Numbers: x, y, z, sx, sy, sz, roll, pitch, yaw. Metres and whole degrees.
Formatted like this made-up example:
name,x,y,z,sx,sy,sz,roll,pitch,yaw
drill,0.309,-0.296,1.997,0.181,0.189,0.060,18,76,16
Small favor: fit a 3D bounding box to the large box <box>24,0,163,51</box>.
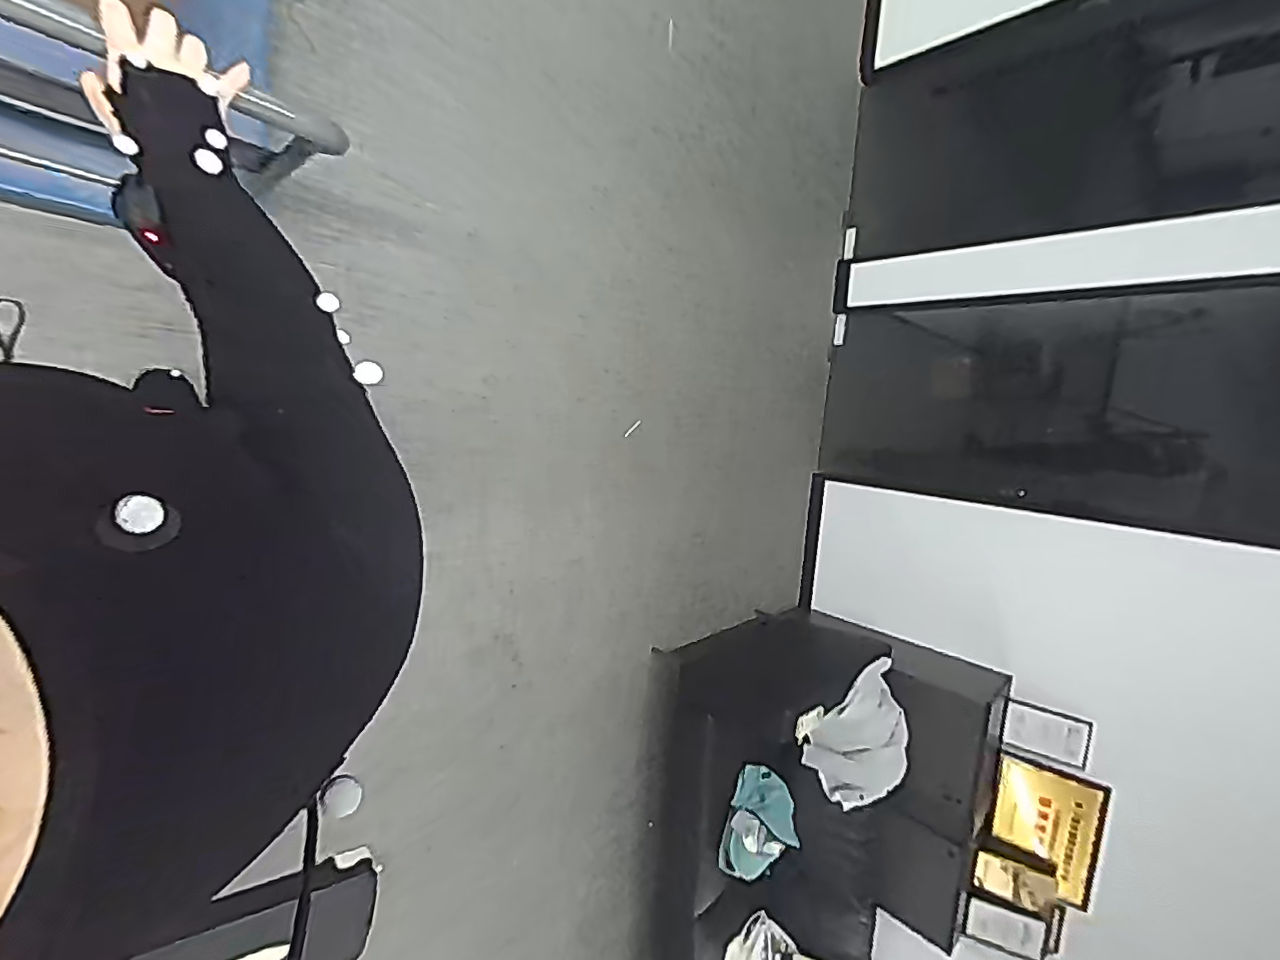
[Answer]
name,x,y,z,sx,sy,sz,roll,pitch,yaw
large box,-0.874,-0.877,0.691,0.408,0.320,0.320,3,97,-47
